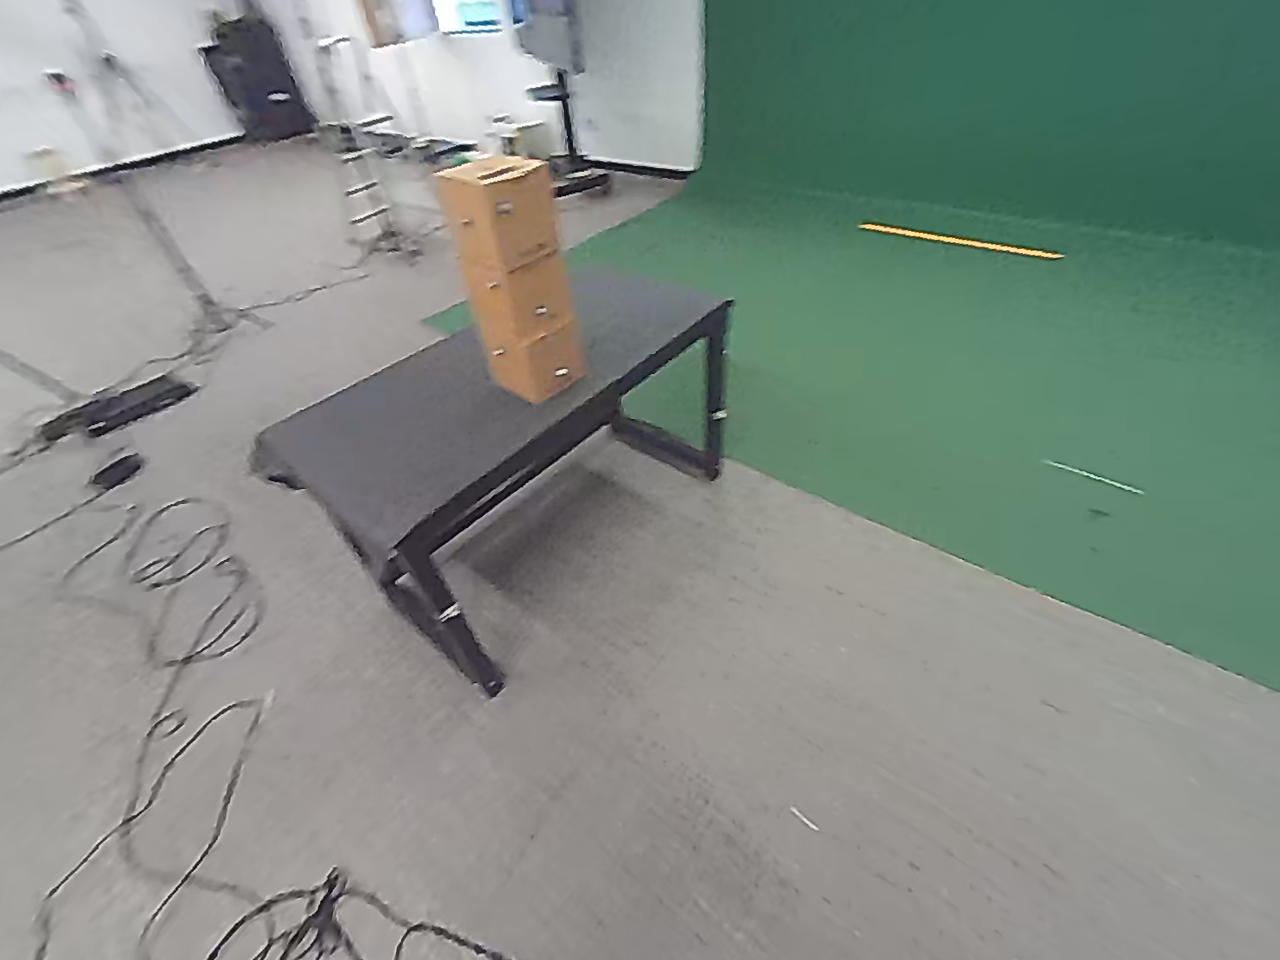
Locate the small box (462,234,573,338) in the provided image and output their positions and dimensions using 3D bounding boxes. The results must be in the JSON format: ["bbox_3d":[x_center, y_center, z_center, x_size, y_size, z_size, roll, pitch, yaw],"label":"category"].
[{"bbox_3d":[-0.279,-0.451,1.258,0.179,0.176,0.168,29,53,32],"label":"small box"}]

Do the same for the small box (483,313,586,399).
[{"bbox_3d":[-0.260,-0.328,1.363,0.179,0.176,0.168,28,54,31],"label":"small box"}]
